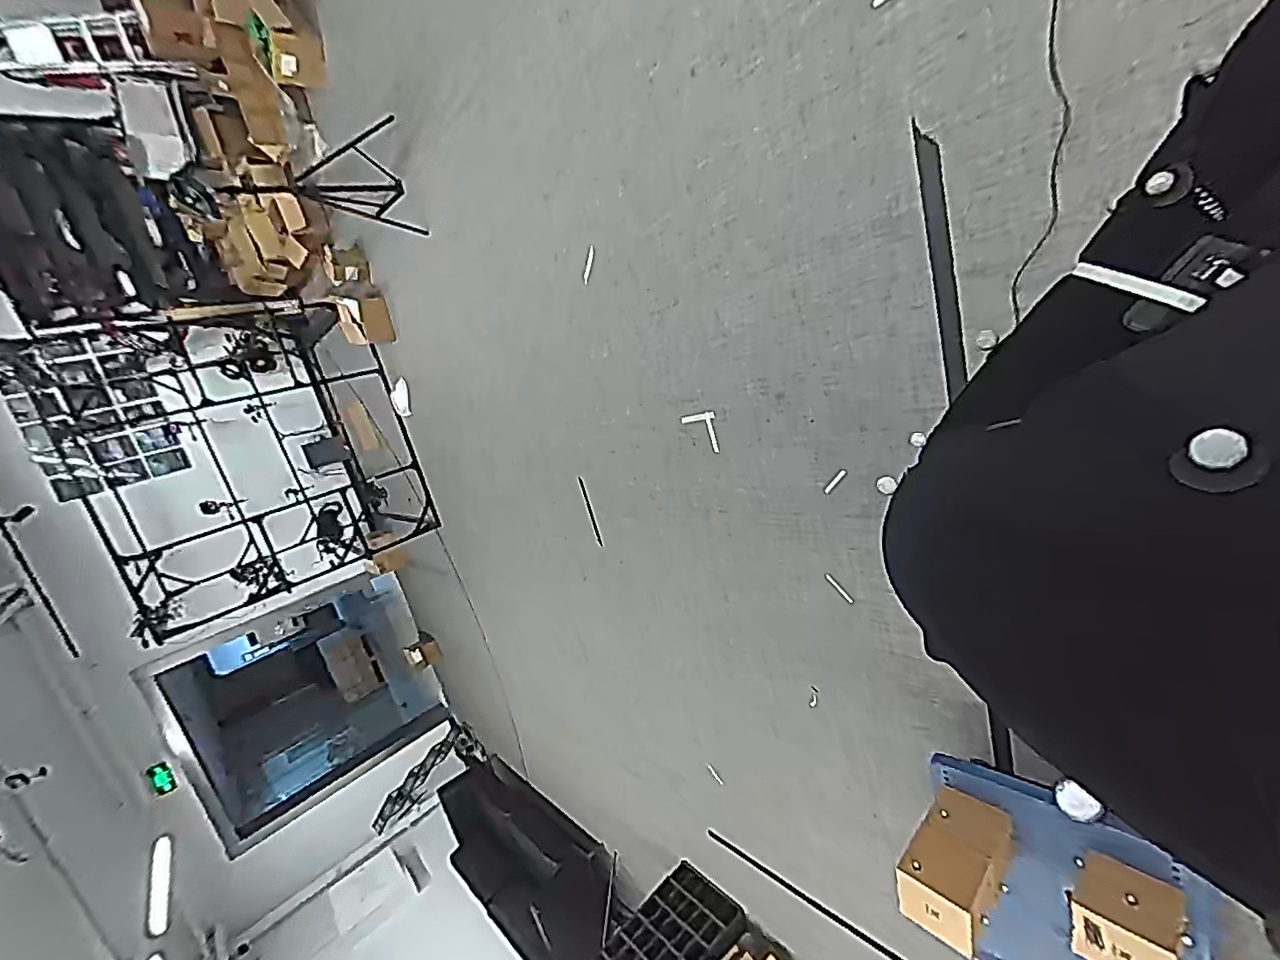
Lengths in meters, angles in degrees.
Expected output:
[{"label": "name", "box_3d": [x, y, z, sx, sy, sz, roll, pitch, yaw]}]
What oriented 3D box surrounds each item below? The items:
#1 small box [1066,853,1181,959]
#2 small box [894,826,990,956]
[{"label": "small box", "box_3d": [1.119, 1.020, 1.255, 0.179, 0.176, 0.168, 6, 115, 48]}, {"label": "small box", "box_3d": [0.787, 1.051, 1.403, 0.179, 0.176, 0.168, 9, 117, 49]}]
